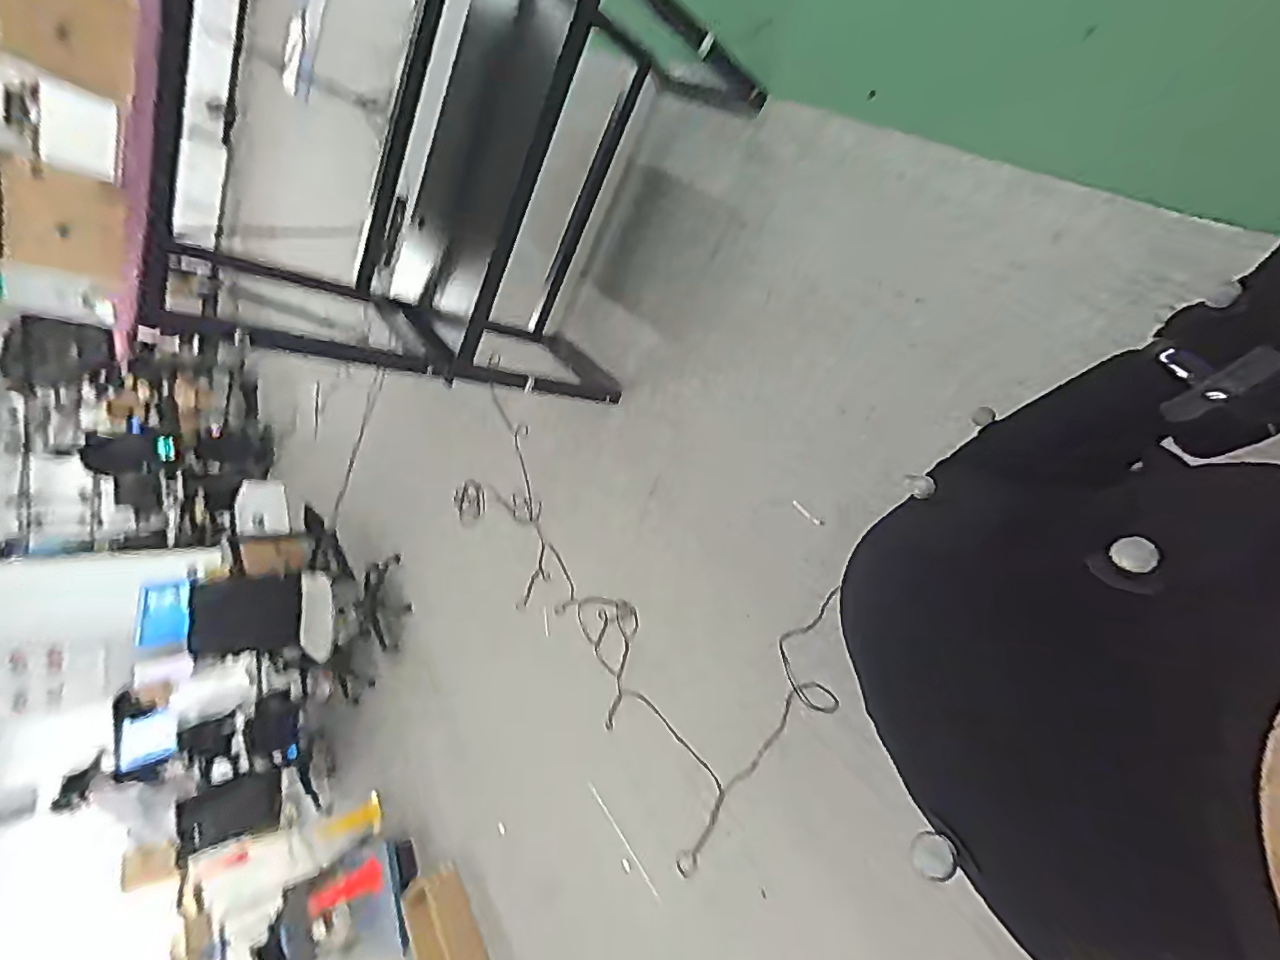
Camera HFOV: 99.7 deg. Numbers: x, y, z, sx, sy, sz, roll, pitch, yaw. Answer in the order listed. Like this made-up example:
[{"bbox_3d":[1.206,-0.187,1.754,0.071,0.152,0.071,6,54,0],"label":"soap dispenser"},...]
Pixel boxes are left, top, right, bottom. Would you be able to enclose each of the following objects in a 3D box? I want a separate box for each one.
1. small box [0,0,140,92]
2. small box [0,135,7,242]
[{"bbox_3d":[-0.985,-0.818,0.935,0.168,0.176,0.179,48,120,32],"label":"small box"},{"bbox_3d":[-1.238,-0.531,0.939,0.168,0.176,0.179,45,118,33],"label":"small box"}]
